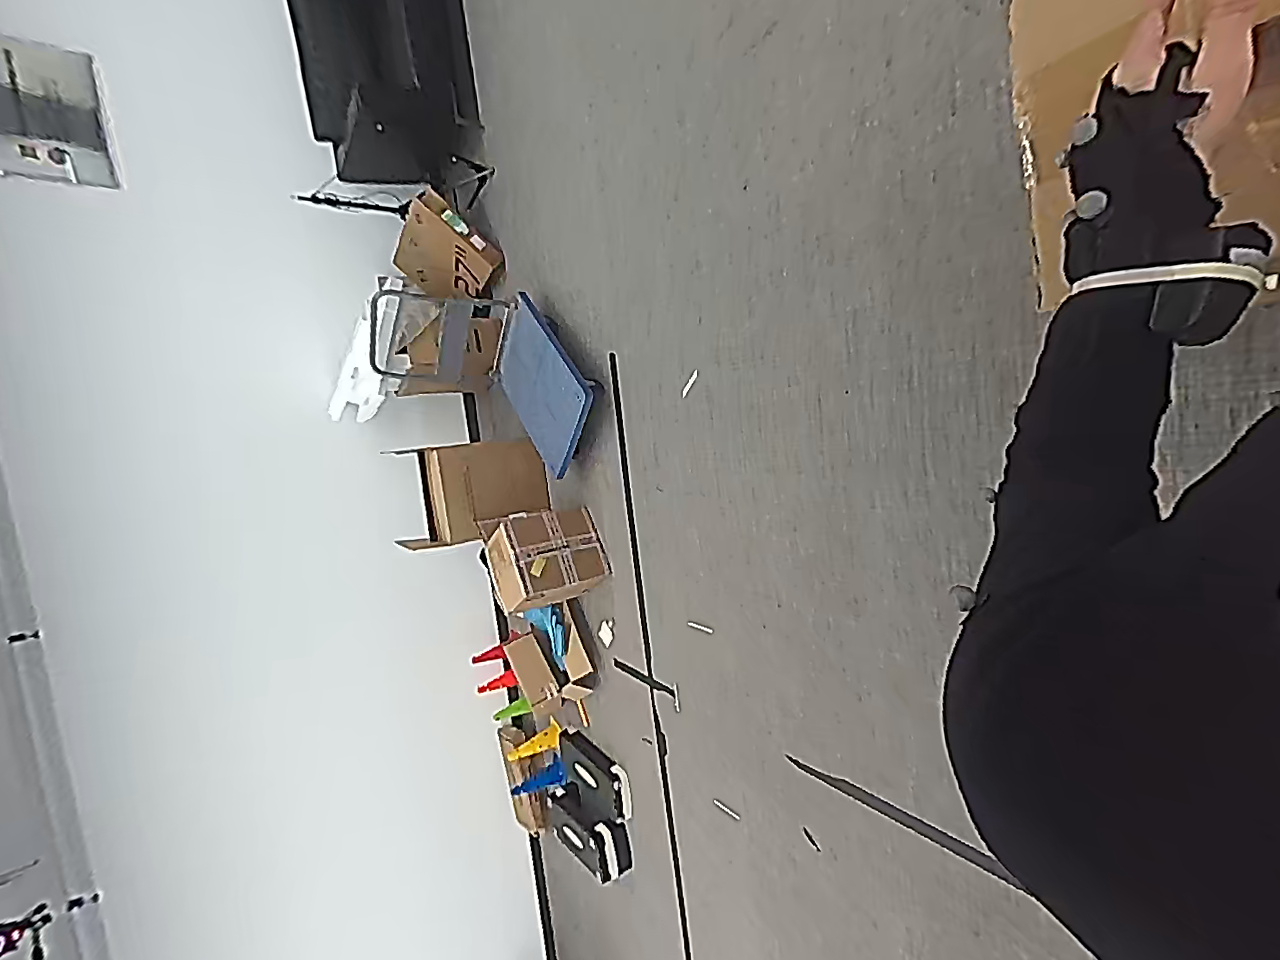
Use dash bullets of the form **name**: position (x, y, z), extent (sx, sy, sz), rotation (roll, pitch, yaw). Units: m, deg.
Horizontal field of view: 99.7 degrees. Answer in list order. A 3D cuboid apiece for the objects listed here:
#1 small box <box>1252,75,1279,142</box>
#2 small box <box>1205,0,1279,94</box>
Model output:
- **small box**: position (0.551, -0.353, 0.364), extent (0.168, 0.176, 0.179), rotation (1, 98, 55)
- **small box**: position (0.418, -0.337, 0.267), extent (0.168, 0.176, 0.179), rotation (5, 102, 55)
